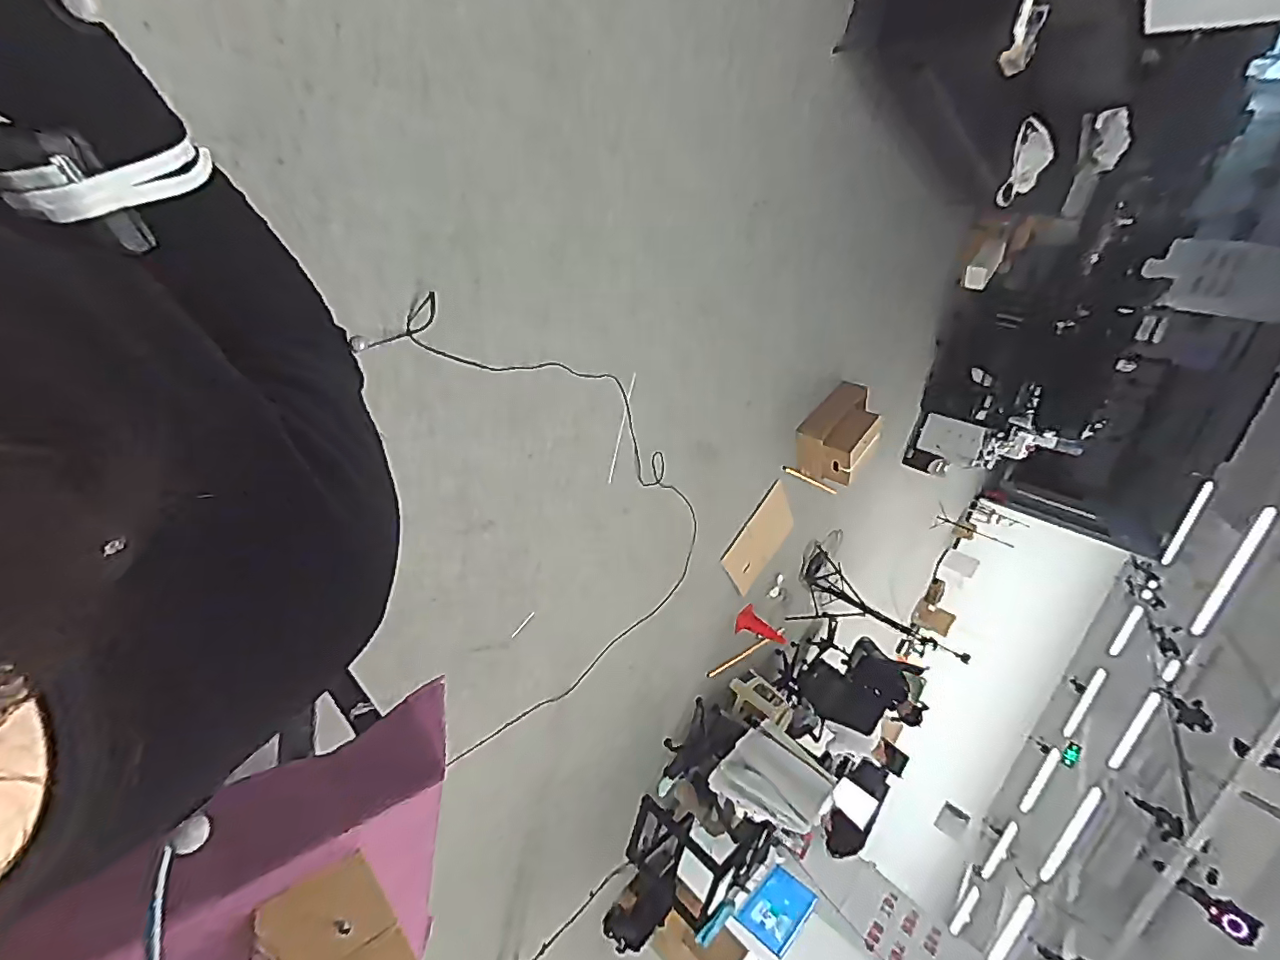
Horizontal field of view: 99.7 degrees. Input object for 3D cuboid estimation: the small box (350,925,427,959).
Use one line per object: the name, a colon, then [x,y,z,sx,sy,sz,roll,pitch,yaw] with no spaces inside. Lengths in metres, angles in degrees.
small box: [-0.434,0.891,0.870,0.179,0.176,0.168,-6,116,-50]

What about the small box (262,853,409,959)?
small box: [-0.547,0.830,0.971,0.179,0.176,0.168,-4,114,-49]
